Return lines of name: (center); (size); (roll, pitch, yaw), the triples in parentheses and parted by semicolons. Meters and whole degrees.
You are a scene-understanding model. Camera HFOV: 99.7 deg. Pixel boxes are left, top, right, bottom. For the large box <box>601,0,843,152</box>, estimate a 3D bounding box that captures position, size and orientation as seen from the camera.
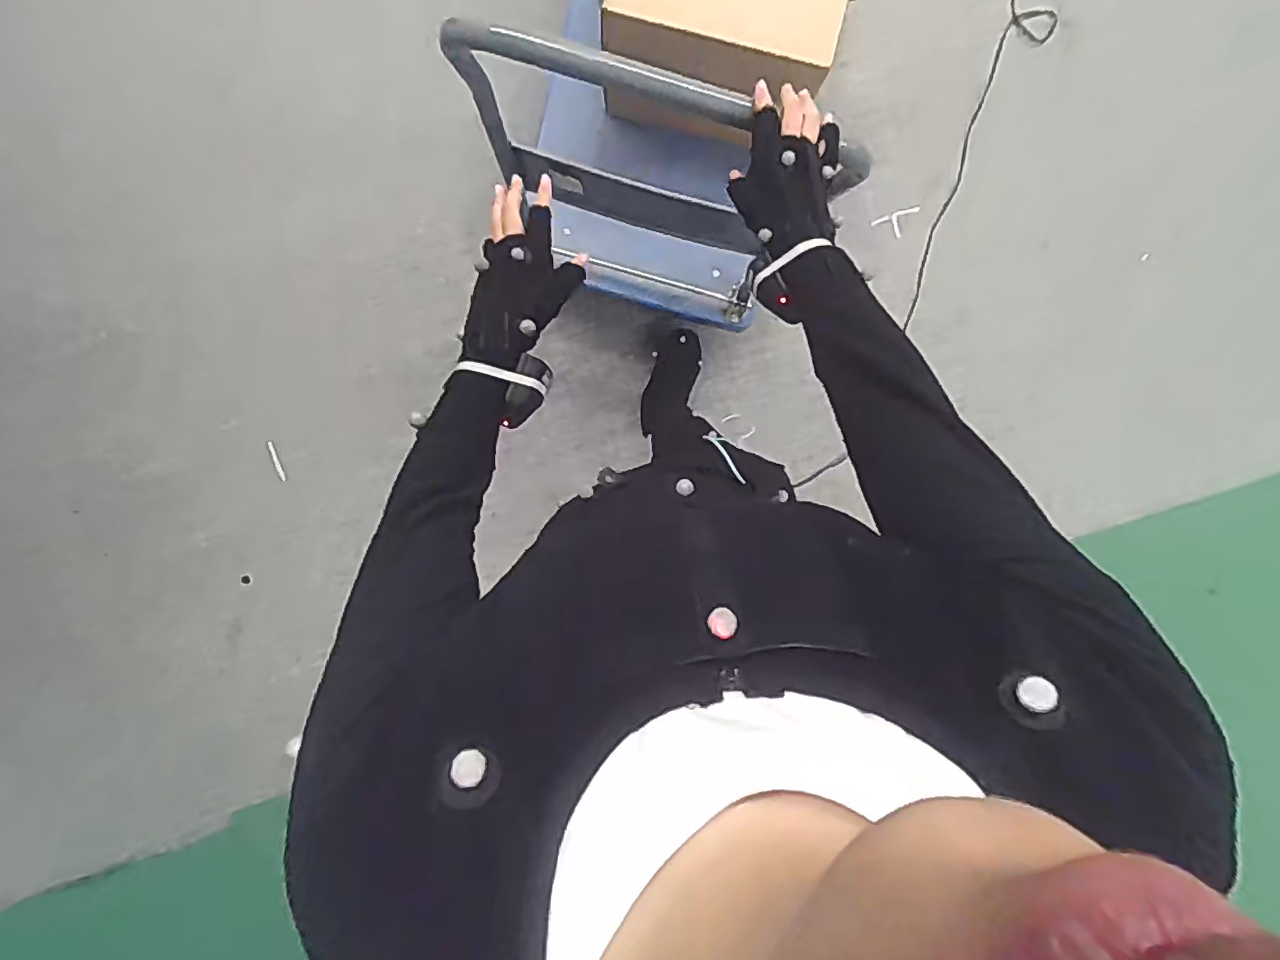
large box: (0.158, -0.906, 1.050); (0.408, 0.320, 0.320); (13, 94, -2)
